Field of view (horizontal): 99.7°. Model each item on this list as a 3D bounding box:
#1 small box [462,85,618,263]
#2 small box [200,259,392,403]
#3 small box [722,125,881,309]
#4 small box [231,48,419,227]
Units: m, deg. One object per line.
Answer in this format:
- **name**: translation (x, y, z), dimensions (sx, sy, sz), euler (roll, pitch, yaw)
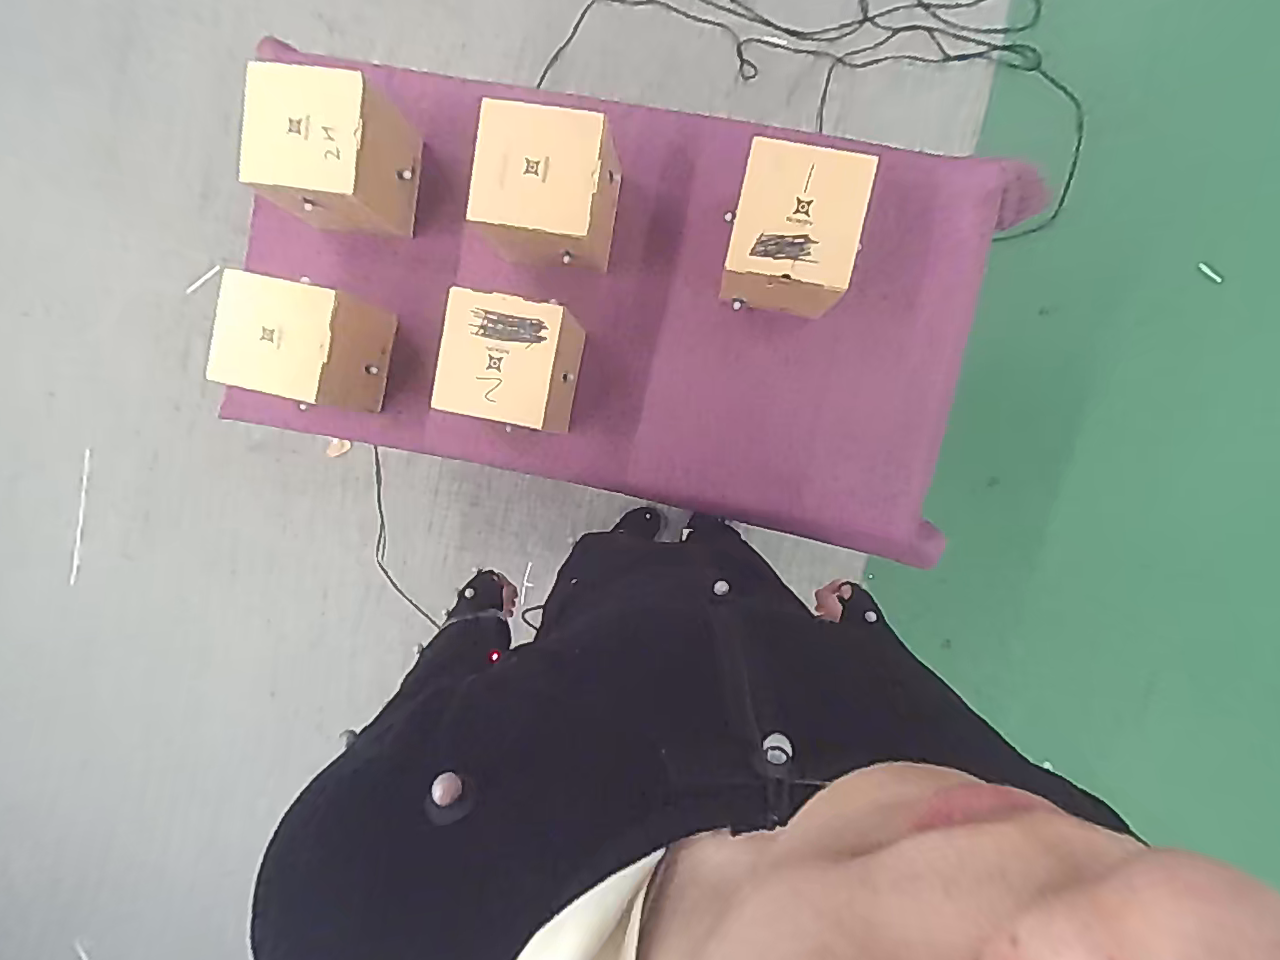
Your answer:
- **small box**: translation (-0.135, -0.435, 0.798), dimensions (0.179, 0.176, 0.168), euler (11, 95, 5)
- **small box**: translation (-0.525, -0.221, 0.846), dimensions (0.179, 0.176, 0.168), euler (13, 94, 3)
- **small box**: translation (0.215, -0.359, 0.771), dimensions (0.168, 0.176, 0.179), euler (13, 95, 4)
- **small box**: translation (-0.466, -0.504, 0.819), dimensions (0.179, 0.176, 0.168), euler (9, 96, 4)
